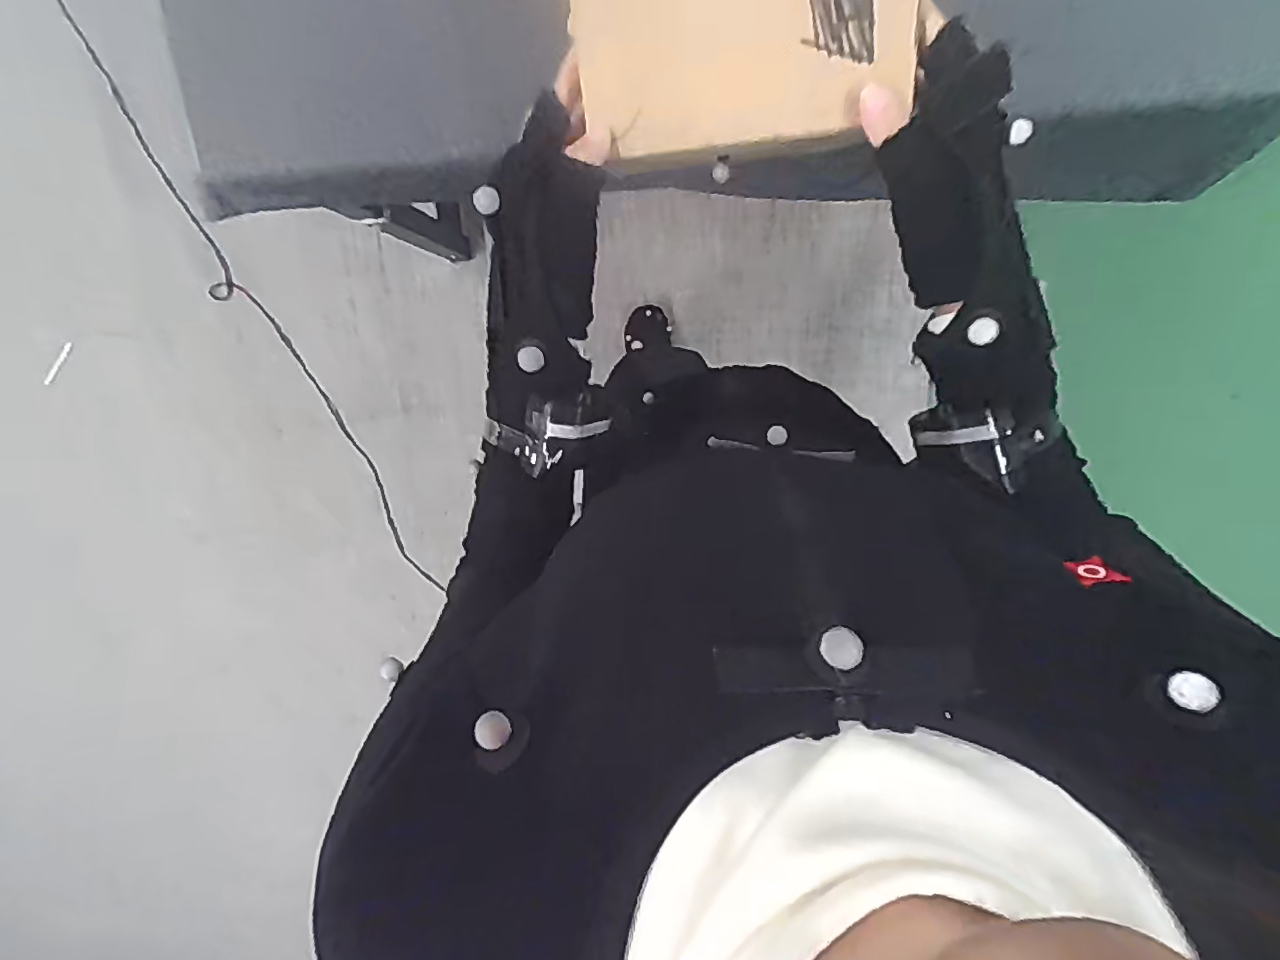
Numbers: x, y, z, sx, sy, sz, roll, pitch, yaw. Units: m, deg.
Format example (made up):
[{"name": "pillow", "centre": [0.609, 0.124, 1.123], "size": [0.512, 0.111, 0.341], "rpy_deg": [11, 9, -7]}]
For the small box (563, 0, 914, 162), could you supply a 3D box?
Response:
[{"name": "small box", "centre": [0.050, -0.298, 0.329], "size": [0.179, 0.176, 0.168], "rpy_deg": [-3, 118, 6]}]
